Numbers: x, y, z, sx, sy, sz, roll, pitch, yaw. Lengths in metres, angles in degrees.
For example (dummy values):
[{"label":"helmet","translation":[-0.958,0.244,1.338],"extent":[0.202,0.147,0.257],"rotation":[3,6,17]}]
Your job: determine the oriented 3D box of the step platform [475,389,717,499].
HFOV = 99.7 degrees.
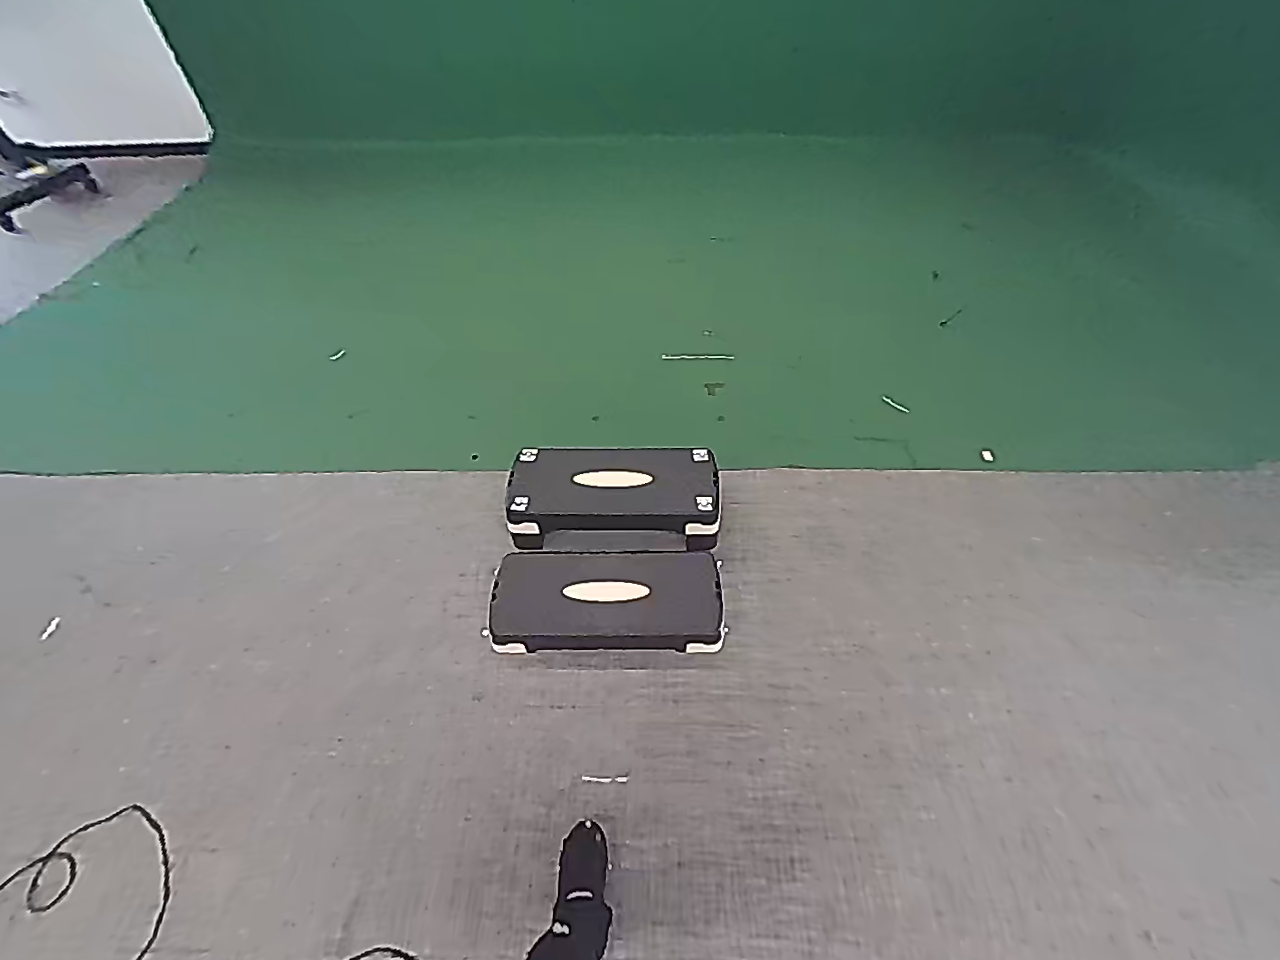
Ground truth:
[{"label":"step platform","translation":[-0.120,-0.105,1.614],"extent":[0.684,0.204,0.286],"rotation":[-1,51,2]}]
